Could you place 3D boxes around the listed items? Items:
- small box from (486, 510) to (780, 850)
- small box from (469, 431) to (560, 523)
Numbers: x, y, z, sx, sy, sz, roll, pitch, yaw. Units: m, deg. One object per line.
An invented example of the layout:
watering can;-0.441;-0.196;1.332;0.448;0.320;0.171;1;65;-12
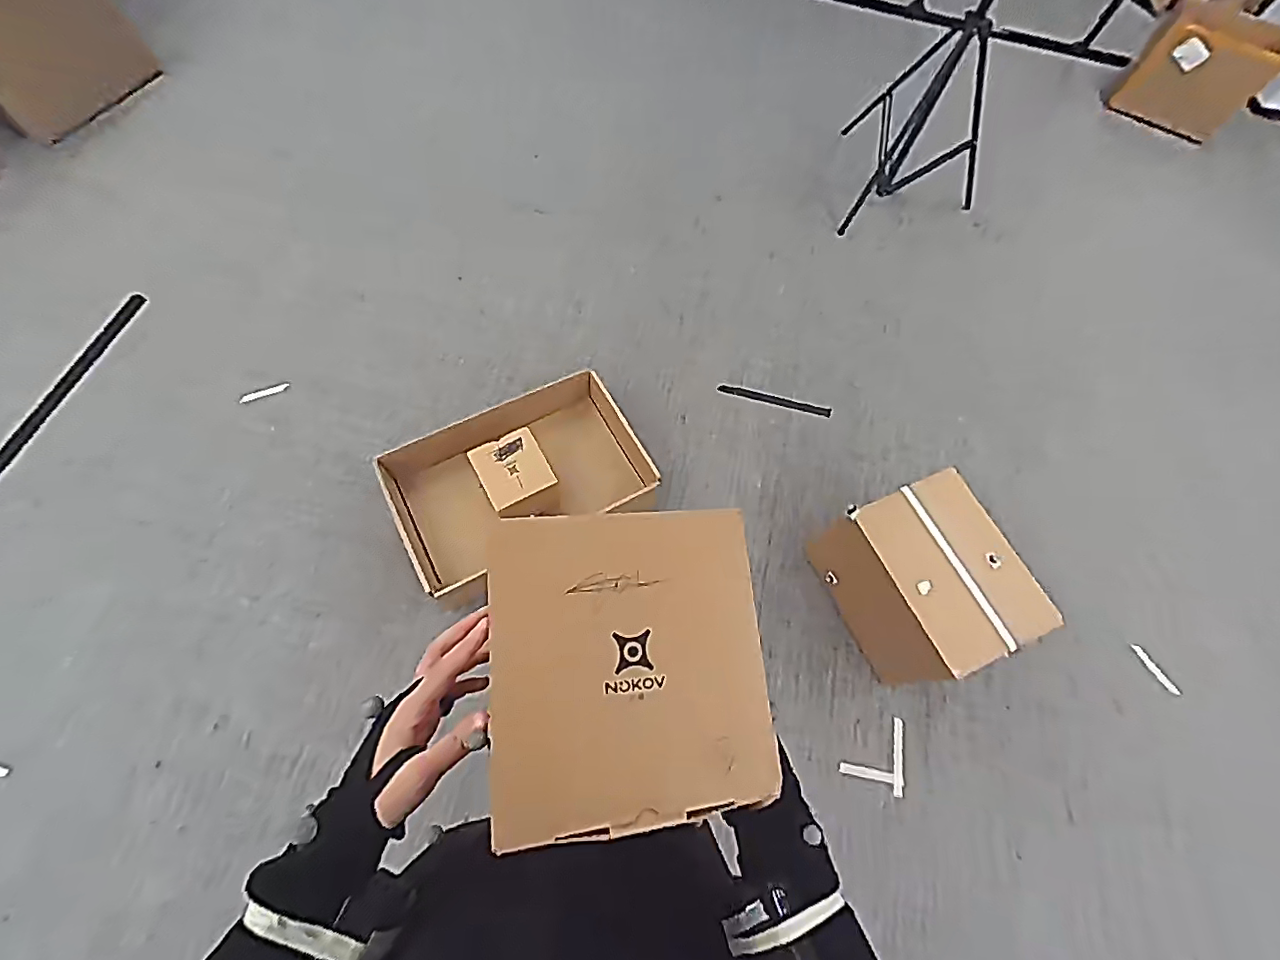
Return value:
small box;-0.023;0.128;0.396;0.168;0.176;0.179;-3;74;-16
small box;-0.319;0.010;1.398;0.168;0.176;0.179;-27;72;-15
